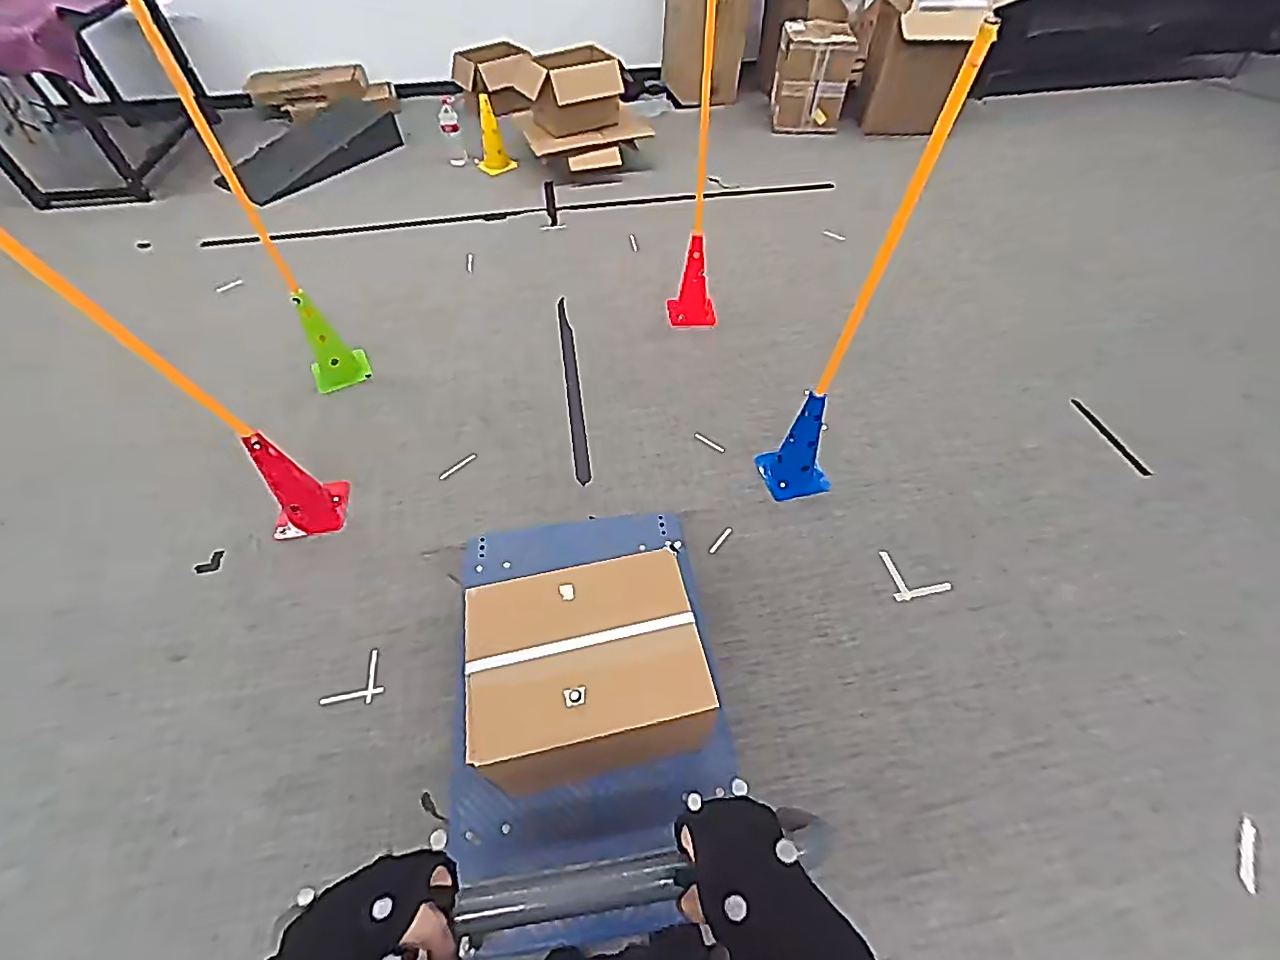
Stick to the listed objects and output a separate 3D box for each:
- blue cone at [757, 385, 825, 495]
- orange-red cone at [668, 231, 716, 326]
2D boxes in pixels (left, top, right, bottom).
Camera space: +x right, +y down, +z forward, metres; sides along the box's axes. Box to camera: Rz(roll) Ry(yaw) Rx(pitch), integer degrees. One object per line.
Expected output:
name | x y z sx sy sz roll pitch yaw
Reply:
blue cone | 0.504 -0.136 1.677 0.193 0.380 0.192 -11 52 -8
orange-red cone | 0.224 -0.831 2.196 0.199 0.360 0.198 -2 53 -2
